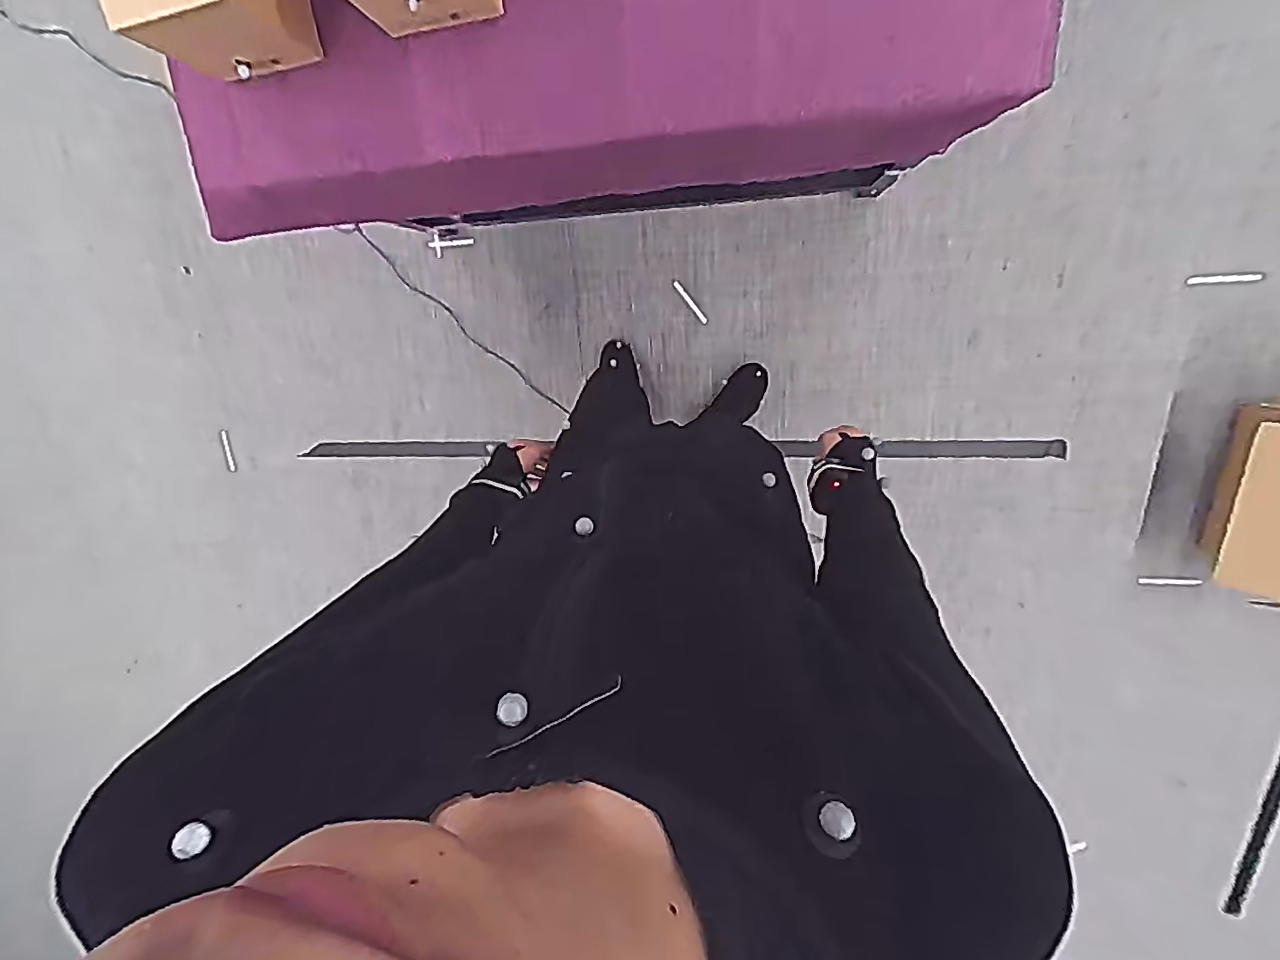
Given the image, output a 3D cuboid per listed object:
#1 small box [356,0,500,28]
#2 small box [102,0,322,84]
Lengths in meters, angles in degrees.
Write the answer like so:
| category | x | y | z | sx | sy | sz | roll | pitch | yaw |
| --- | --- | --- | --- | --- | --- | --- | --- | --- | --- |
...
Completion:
| category | x | y | z | sx | sy | sz | roll | pitch | yaw |
| --- | --- | --- | --- | --- | --- | --- | --- | --- | --- |
| small box | -0.280 | -0.675 | 0.636 | 0.168 | 0.176 | 0.179 | -3 | 107 | 9 |
| small box | -0.549 | -0.649 | 0.686 | 0.168 | 0.176 | 0.179 | -4 | 106 | 10 |
